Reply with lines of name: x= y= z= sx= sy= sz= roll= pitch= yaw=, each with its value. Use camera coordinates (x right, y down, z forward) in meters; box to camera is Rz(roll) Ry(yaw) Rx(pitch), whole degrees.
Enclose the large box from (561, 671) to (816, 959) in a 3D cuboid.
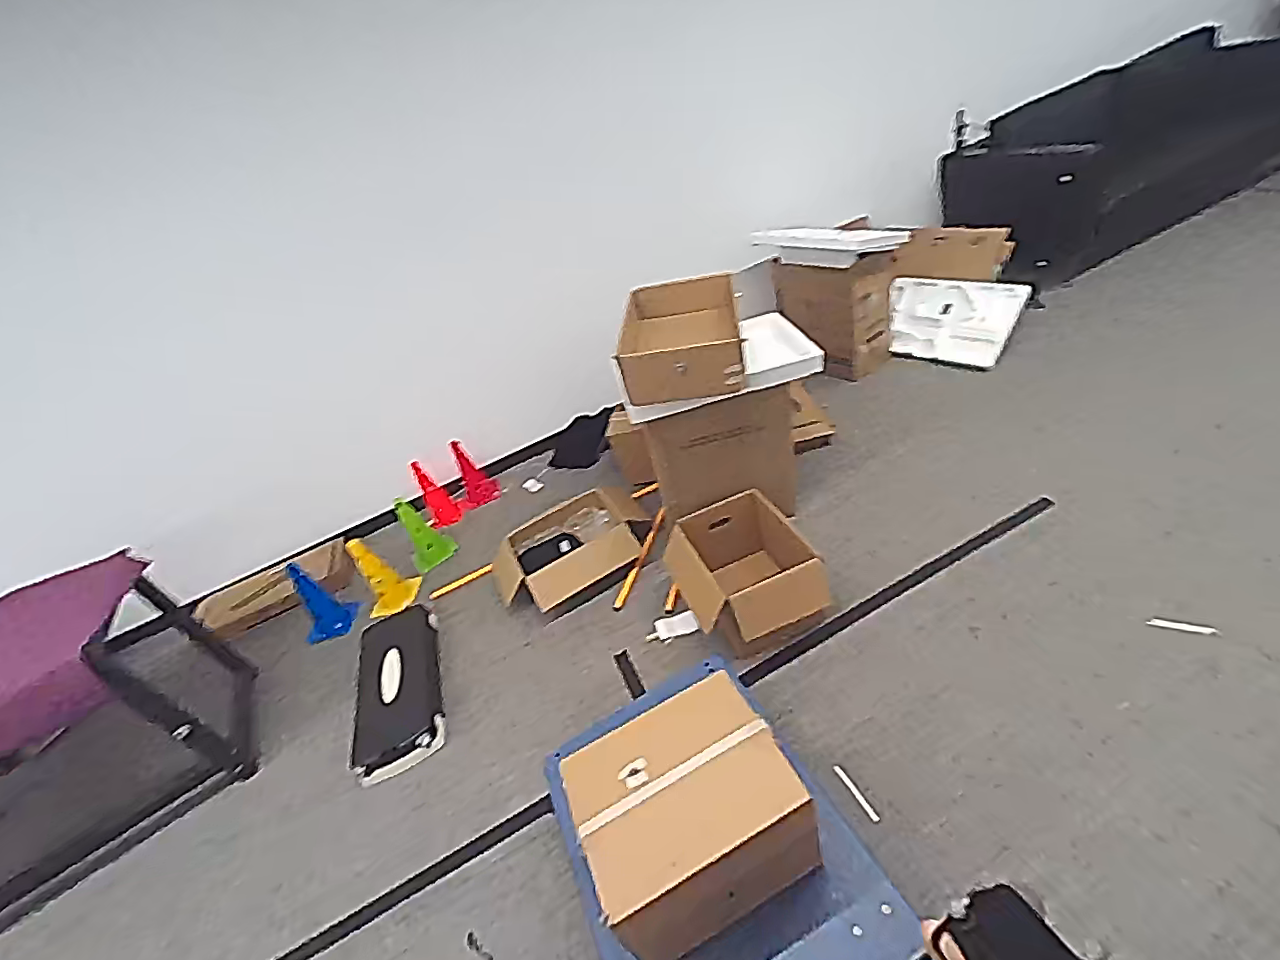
large box: x=0.106 y=0.696 z=1.139 sx=0.408 sy=0.320 sz=0.320 roll=-27 pitch=35 yaw=-10
